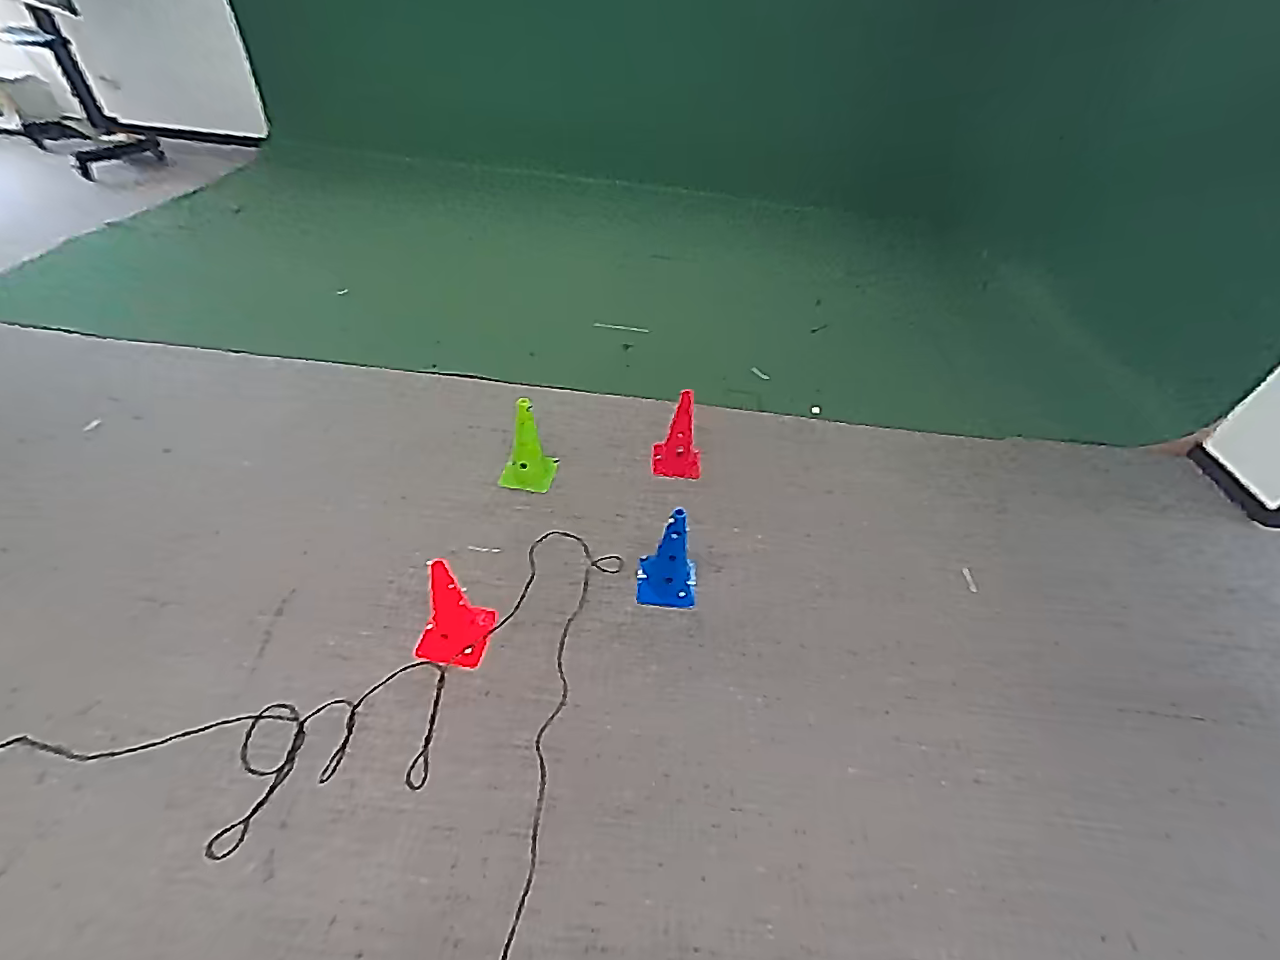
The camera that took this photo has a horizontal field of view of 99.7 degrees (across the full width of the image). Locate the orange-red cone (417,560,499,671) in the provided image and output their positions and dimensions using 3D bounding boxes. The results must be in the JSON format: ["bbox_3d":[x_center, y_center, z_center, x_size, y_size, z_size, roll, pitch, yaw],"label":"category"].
[{"bbox_3d":[-0.535,0.350,1.529,0.198,0.360,0.199,11,42,3],"label":"orange-red cone"}]

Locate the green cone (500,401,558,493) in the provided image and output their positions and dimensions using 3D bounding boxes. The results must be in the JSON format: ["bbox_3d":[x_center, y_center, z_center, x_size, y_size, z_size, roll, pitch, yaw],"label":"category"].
[{"bbox_3d":[-0.431,-0.149,2.053,0.200,0.368,0.202,8,45,2],"label":"green cone"}]
